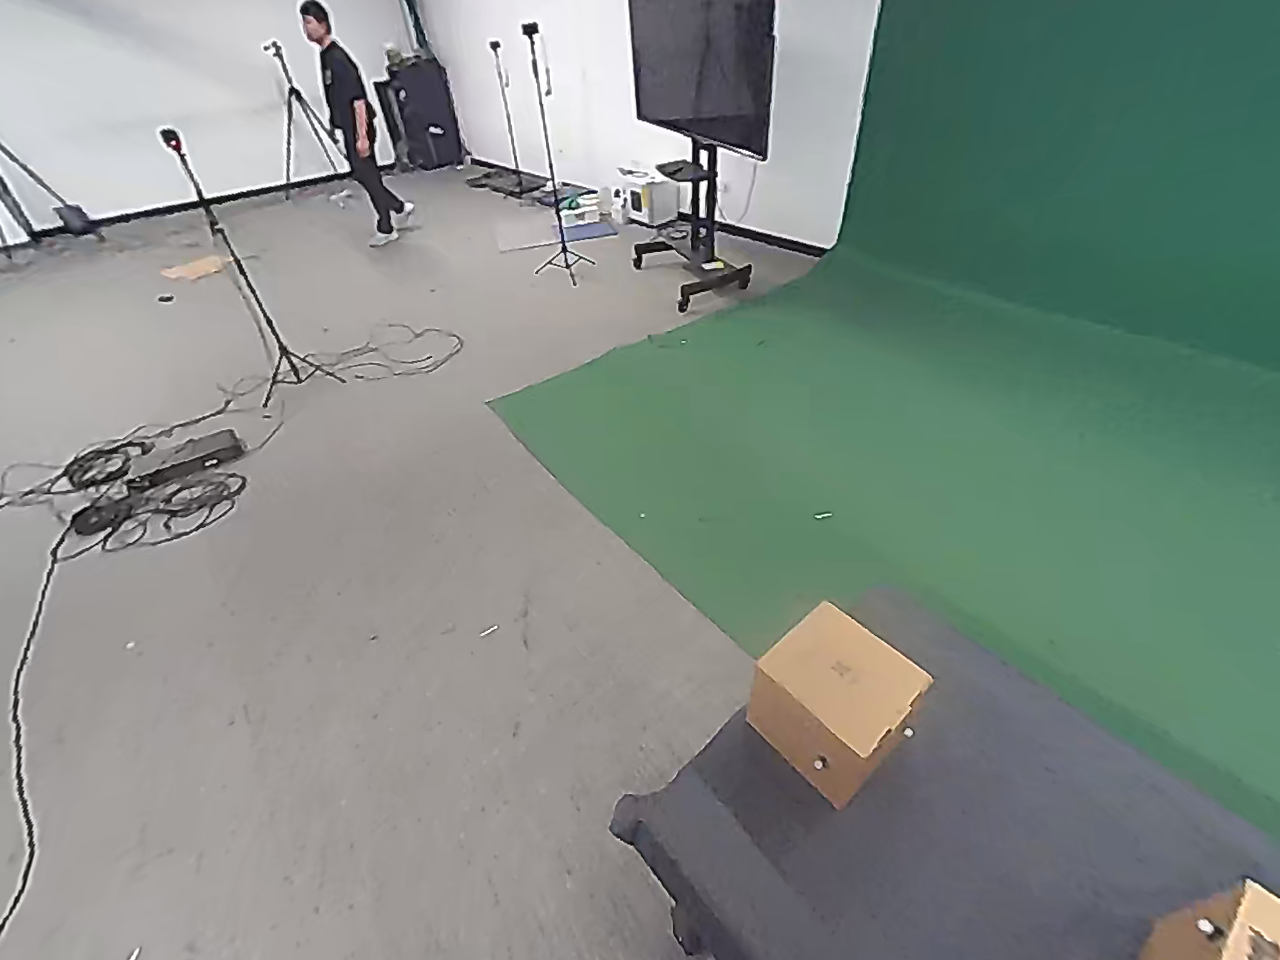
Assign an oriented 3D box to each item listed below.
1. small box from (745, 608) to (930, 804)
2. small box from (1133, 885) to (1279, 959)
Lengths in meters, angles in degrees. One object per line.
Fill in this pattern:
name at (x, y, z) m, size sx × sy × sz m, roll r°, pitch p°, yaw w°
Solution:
small box at (0.274, 0.329, 0.783) m, size 0.168 × 0.176 × 0.179 m, roll -29°, pitch 46°, yaw -32°
small box at (0.609, 0.543, 0.511) m, size 0.168 × 0.176 × 0.179 m, roll -28°, pitch 47°, yaw -29°
